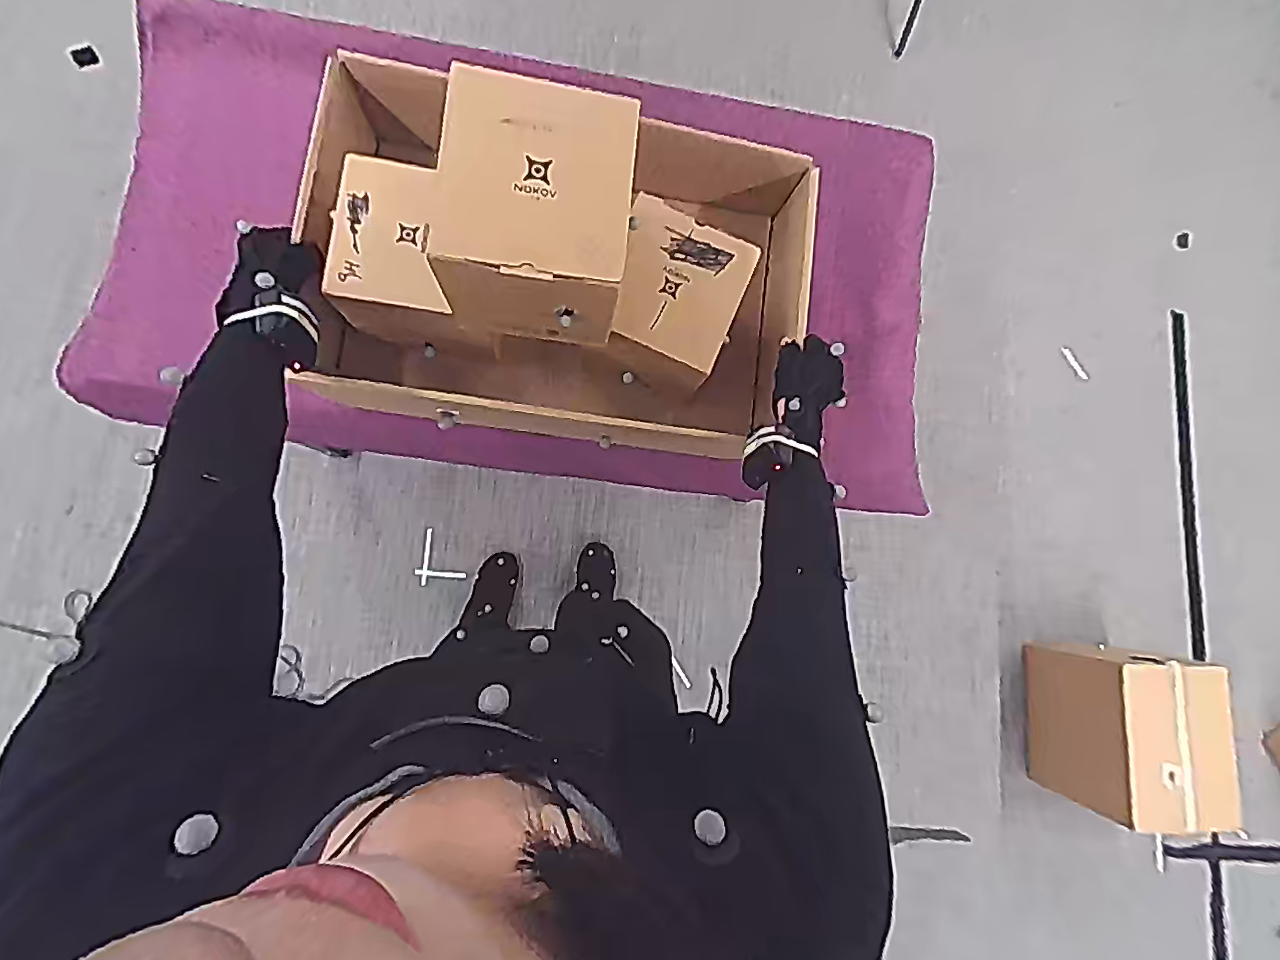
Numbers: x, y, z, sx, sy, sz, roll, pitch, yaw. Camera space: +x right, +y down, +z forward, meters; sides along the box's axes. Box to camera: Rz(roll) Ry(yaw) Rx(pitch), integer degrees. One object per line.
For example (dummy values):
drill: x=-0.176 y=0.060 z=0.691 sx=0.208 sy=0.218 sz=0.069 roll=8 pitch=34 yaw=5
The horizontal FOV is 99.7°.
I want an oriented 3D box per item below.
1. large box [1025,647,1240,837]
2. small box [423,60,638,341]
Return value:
large box: x=1.340 y=0.698 z=1.506 sx=0.320 sy=0.320 sz=0.408 roll=3 pitch=83 yaw=-7
small box: x=-0.101 y=-0.253 z=0.536 sx=0.168 sy=0.176 sz=0.179 roll=6 pitch=83 yaw=-9
